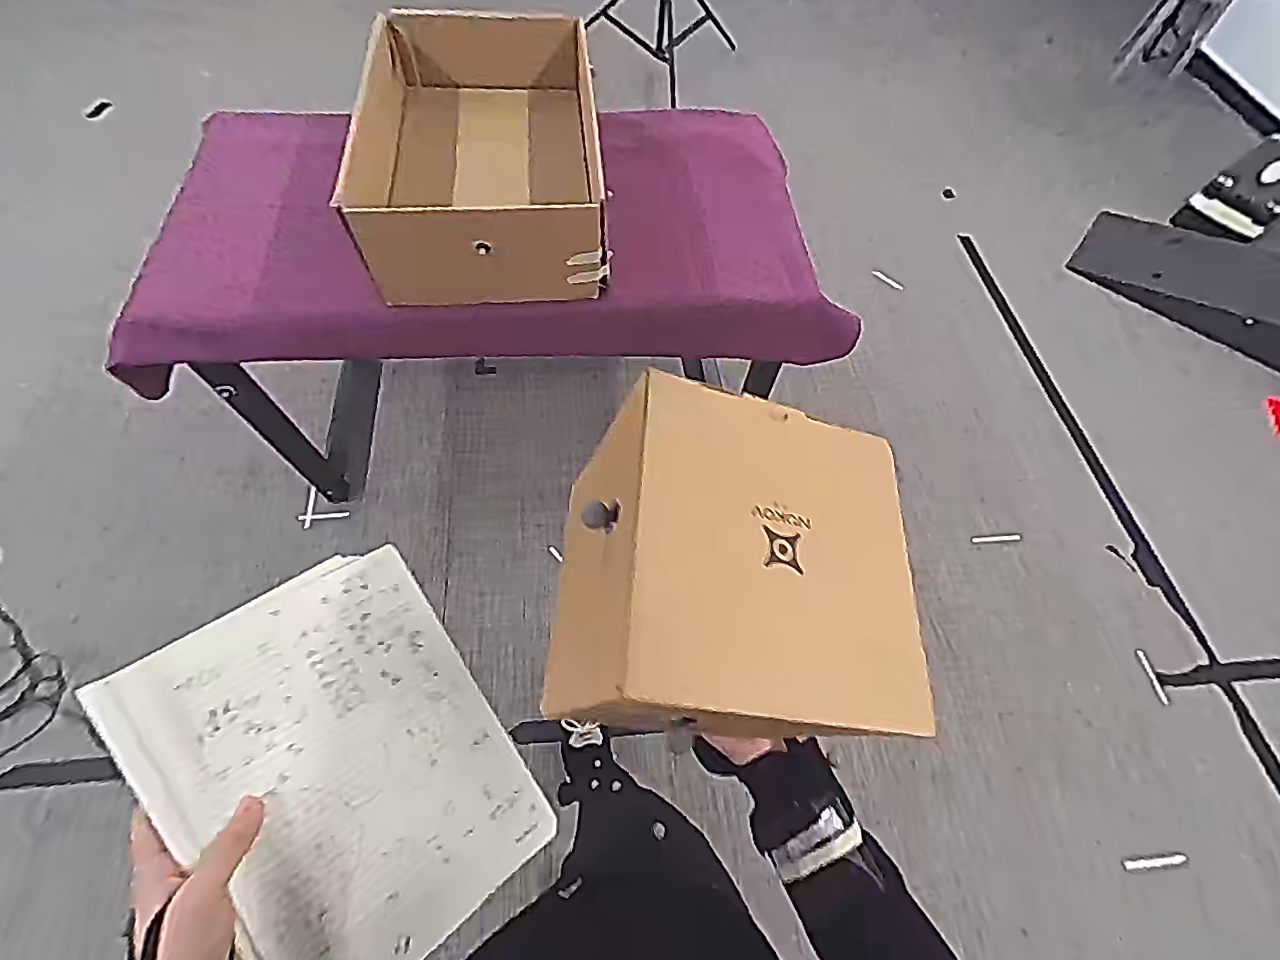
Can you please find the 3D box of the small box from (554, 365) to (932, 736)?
[{"bbox_3d":[0.047,0.062,0.350,0.168,0.176,0.179,14,61,-15],"label":"small box"}]
